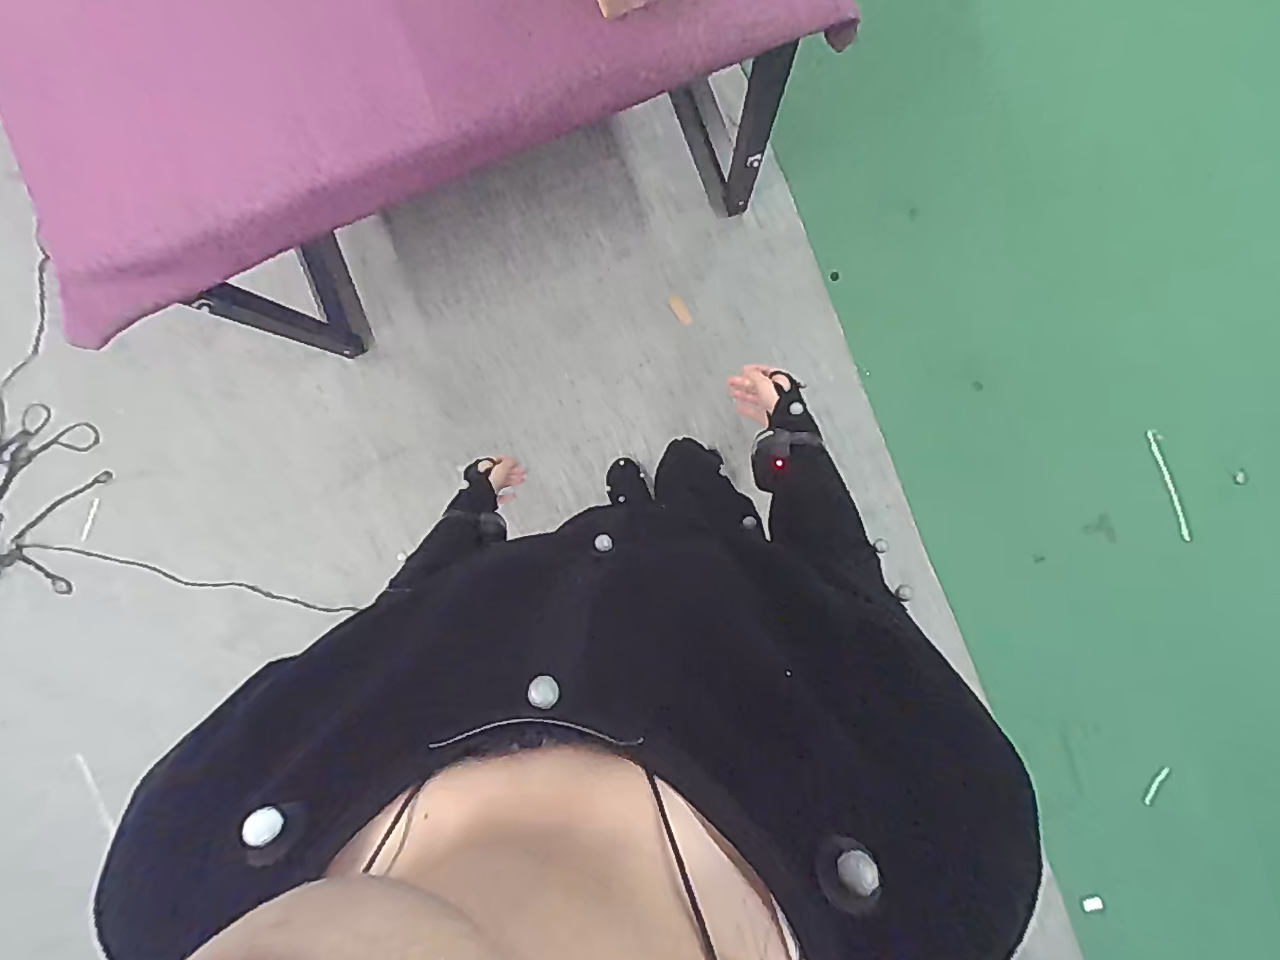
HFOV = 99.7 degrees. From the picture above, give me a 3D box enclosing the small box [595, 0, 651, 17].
[{"bbox_3d":[0.000,-0.744,0.670,0.179,0.176,0.168,-21,89,3],"label":"small box"}]
